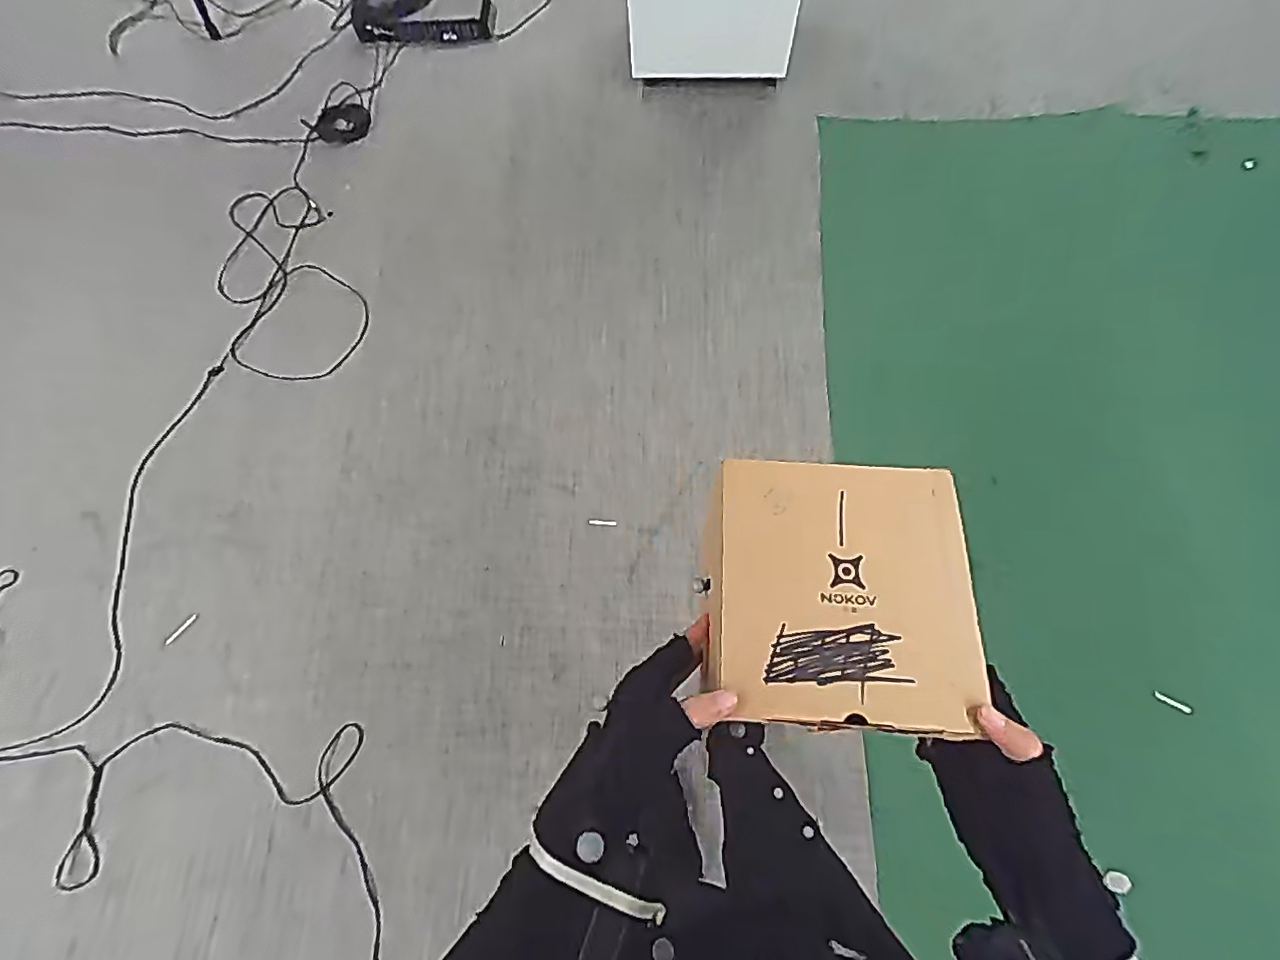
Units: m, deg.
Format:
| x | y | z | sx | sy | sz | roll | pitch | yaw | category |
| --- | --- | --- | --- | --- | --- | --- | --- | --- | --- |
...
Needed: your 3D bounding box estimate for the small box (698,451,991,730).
| x | y | z | sx | sy | sz | roll | pitch | yaw | category |
| --- | --- | --- | --- | --- | --- | --- | --- | --- | --- |
| 0.137 | 0.094 | 0.431 | 0.168 | 0.176 | 0.179 | 4 | 66 | 2 | small box |
